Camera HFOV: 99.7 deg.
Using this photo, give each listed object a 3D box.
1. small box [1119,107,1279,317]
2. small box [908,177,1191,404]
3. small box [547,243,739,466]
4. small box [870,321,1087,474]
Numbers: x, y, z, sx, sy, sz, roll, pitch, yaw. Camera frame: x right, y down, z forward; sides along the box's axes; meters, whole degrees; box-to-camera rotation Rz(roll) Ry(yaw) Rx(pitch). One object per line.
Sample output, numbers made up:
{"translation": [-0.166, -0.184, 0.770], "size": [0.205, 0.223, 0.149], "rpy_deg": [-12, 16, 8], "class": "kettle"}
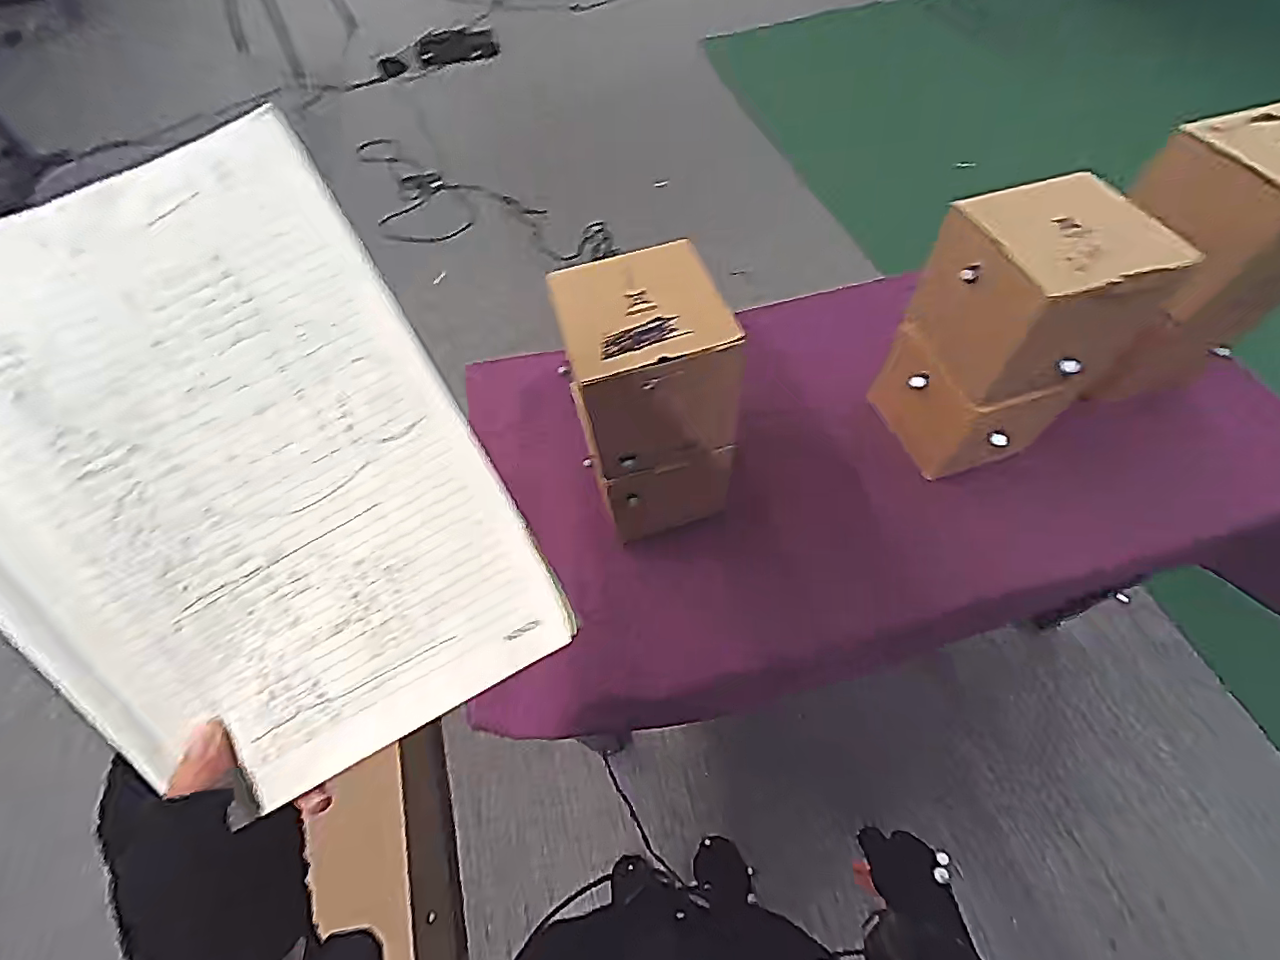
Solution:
{"translation": [0.745, -0.328, 0.685], "size": [0.168, 0.176, 0.179], "rpy_deg": [-14, 59, -5], "class": "small box"}
{"translation": [0.456, -0.220, 0.643], "size": [0.168, 0.176, 0.179], "rpy_deg": [-14, 58, -4], "class": "small box"}
{"translation": [0.004, -0.134, 0.624], "size": [0.168, 0.176, 0.179], "rpy_deg": [-16, 57, -5], "class": "small box"}
{"translation": [0.467, -0.128, 0.780], "size": [0.168, 0.176, 0.179], "rpy_deg": [-17, 58, -6], "class": "small box"}
